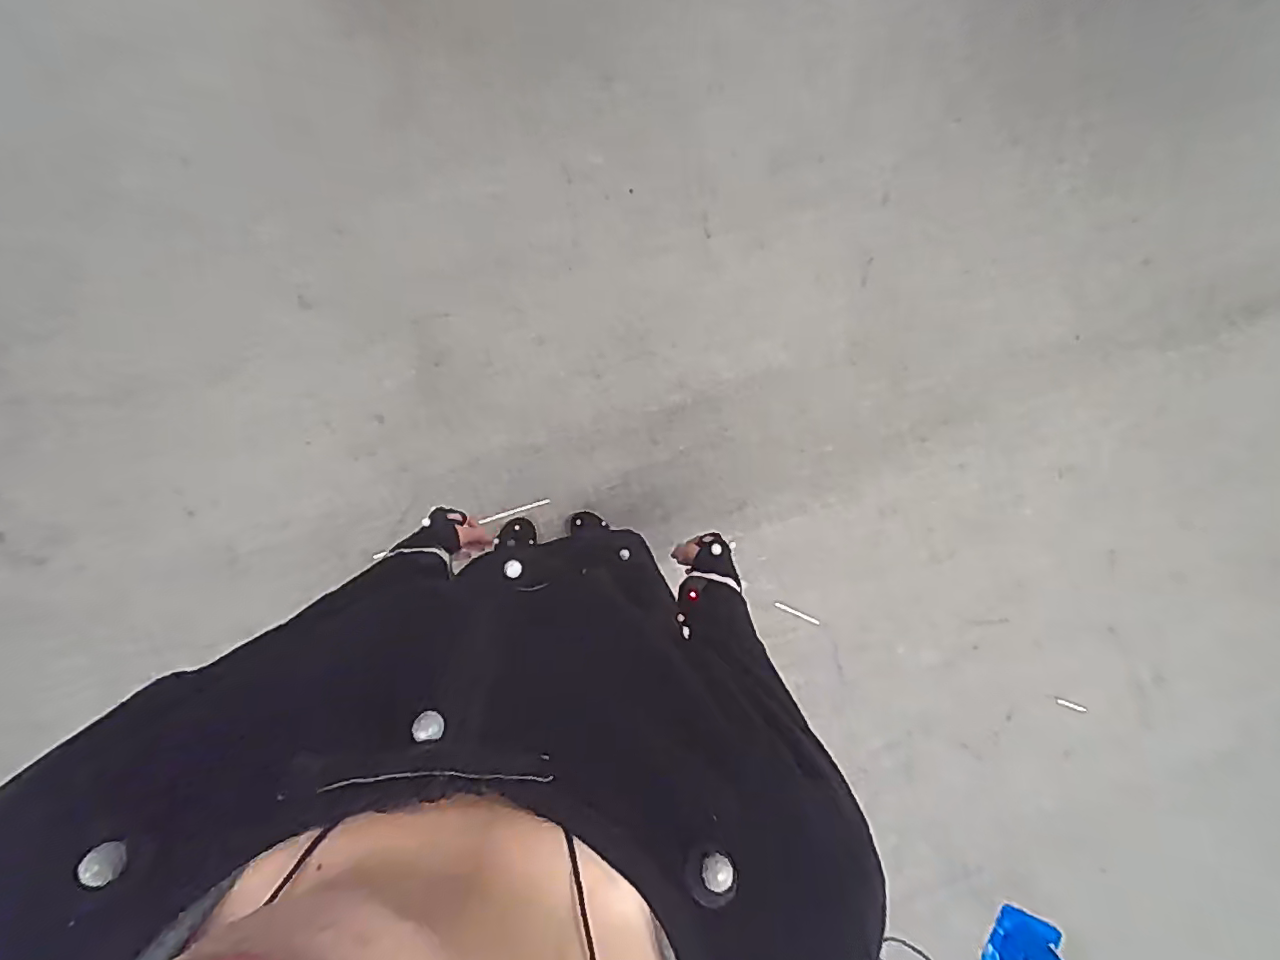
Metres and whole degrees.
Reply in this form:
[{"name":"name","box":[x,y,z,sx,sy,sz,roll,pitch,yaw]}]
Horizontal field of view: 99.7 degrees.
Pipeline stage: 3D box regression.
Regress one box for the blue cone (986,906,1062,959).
[{"name":"blue cone","box":[1.108,1.323,1.386,0.192,0.380,0.193,26,83,-3]}]
